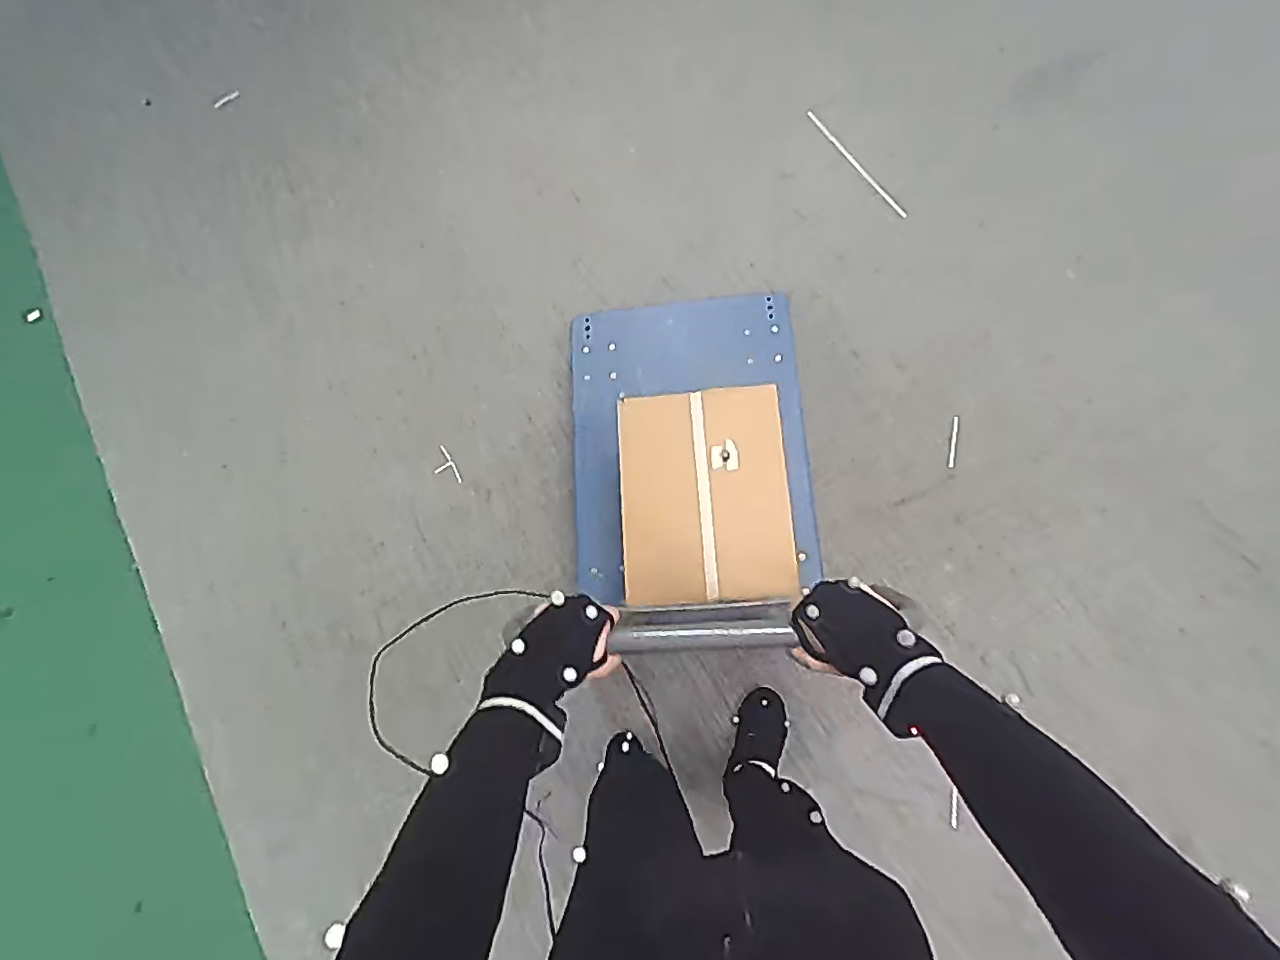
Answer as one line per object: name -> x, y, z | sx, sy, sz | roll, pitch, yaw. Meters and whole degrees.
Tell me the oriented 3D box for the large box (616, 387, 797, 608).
large box -> 0.134, 0.058, 1.162 | 0.320, 0.320, 0.408 | -4, 76, 5
